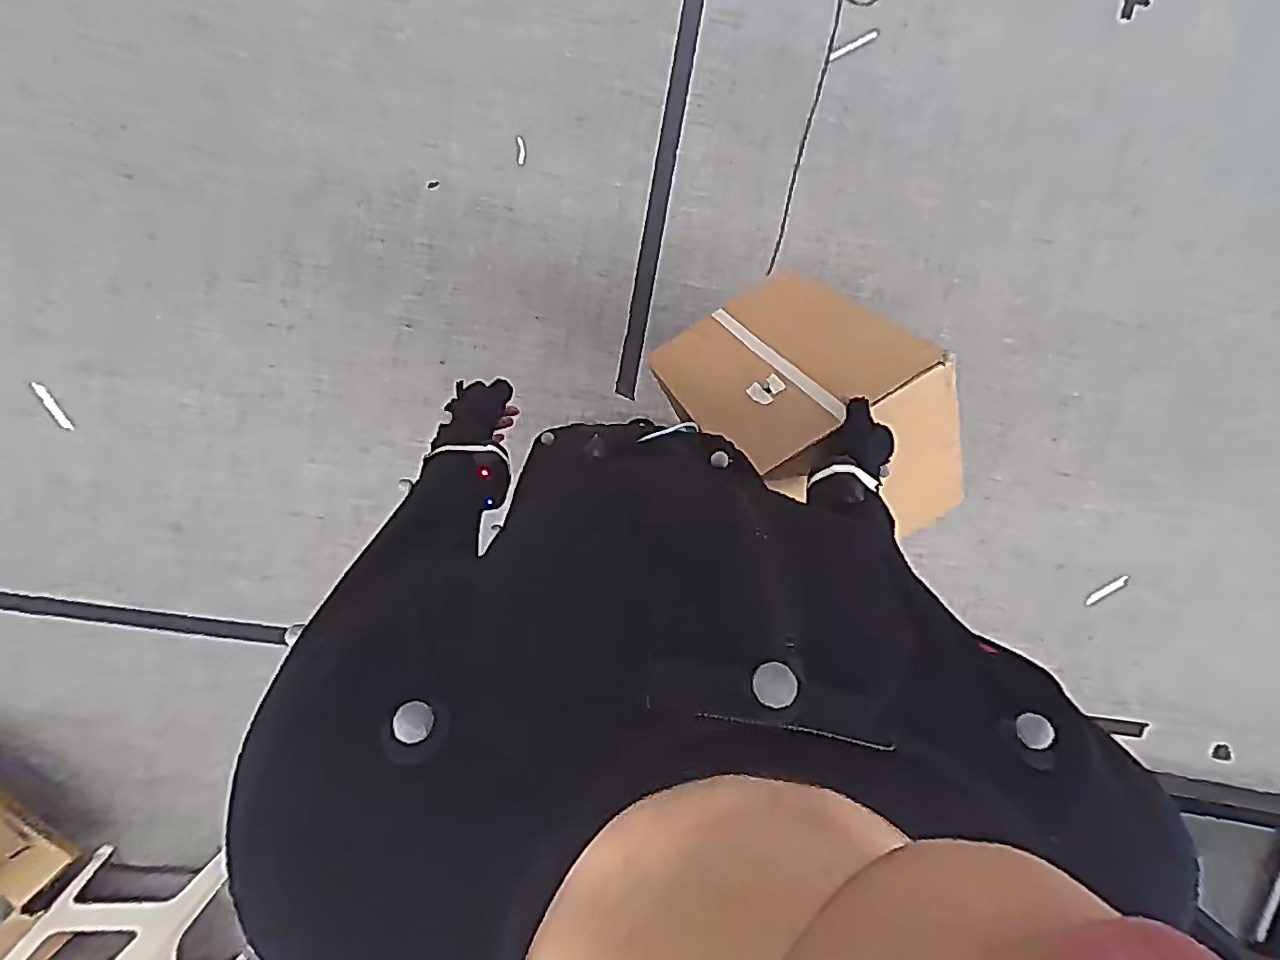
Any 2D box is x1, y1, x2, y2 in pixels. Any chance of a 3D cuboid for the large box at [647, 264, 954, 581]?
[{"bbox_3d":[0.270,-0.109,0.950,0.320,0.408,0.320,-34,134,4],"label":"large box"}]
